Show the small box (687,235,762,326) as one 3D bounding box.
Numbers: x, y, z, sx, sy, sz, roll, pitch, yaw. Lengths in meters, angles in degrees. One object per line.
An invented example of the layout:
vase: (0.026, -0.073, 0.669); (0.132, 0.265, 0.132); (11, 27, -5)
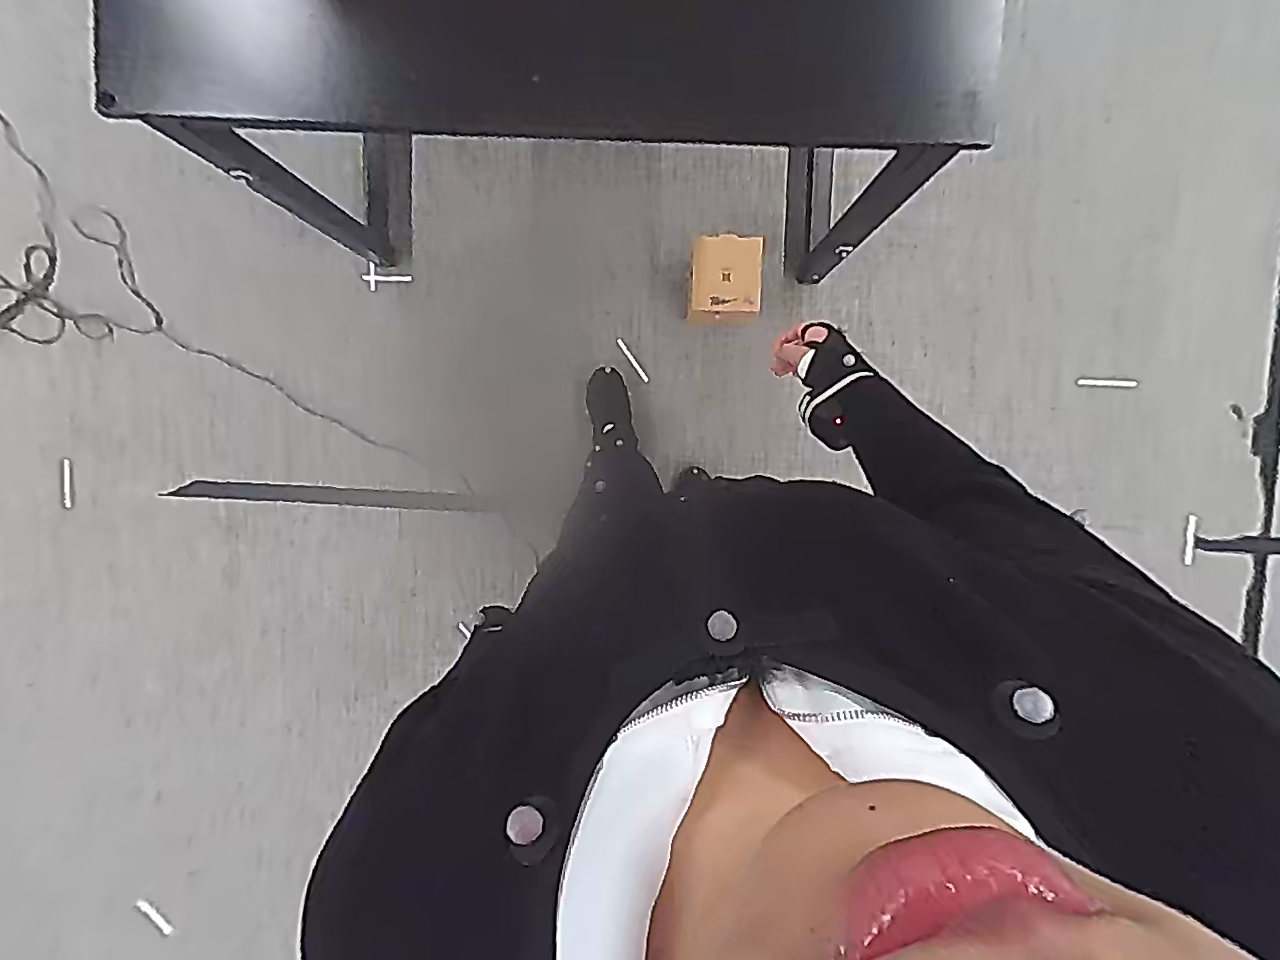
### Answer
small box: (0.208, -0.497, 1.365); (0.168, 0.176, 0.179); (1, 94, 2)
